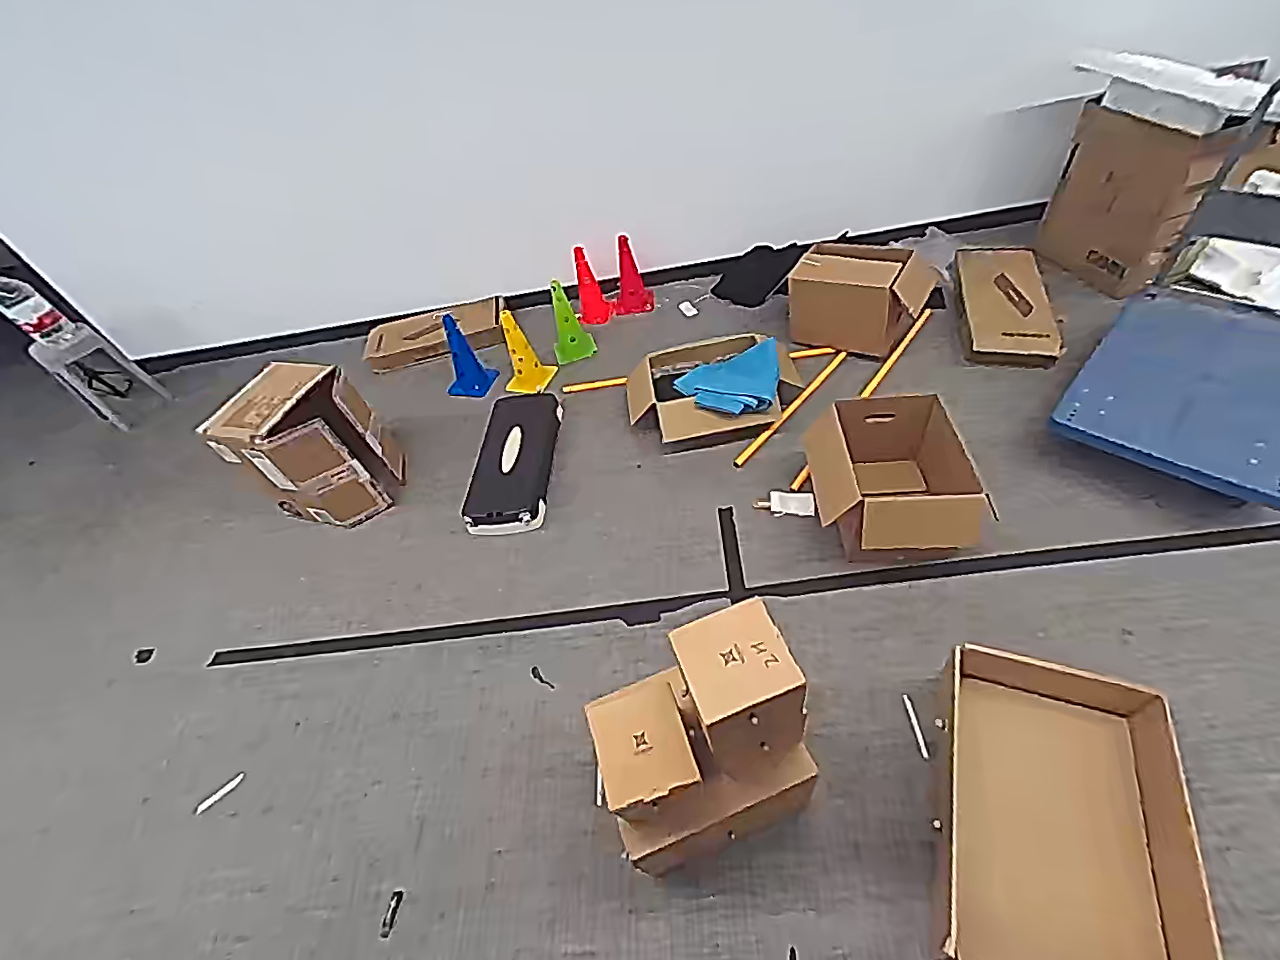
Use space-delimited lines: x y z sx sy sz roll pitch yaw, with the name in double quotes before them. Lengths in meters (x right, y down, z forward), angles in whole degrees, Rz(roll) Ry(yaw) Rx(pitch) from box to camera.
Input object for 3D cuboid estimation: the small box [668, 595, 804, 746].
"small box" 0.166 0.335 0.937 0.179 0.176 0.168 -20 49 -5
